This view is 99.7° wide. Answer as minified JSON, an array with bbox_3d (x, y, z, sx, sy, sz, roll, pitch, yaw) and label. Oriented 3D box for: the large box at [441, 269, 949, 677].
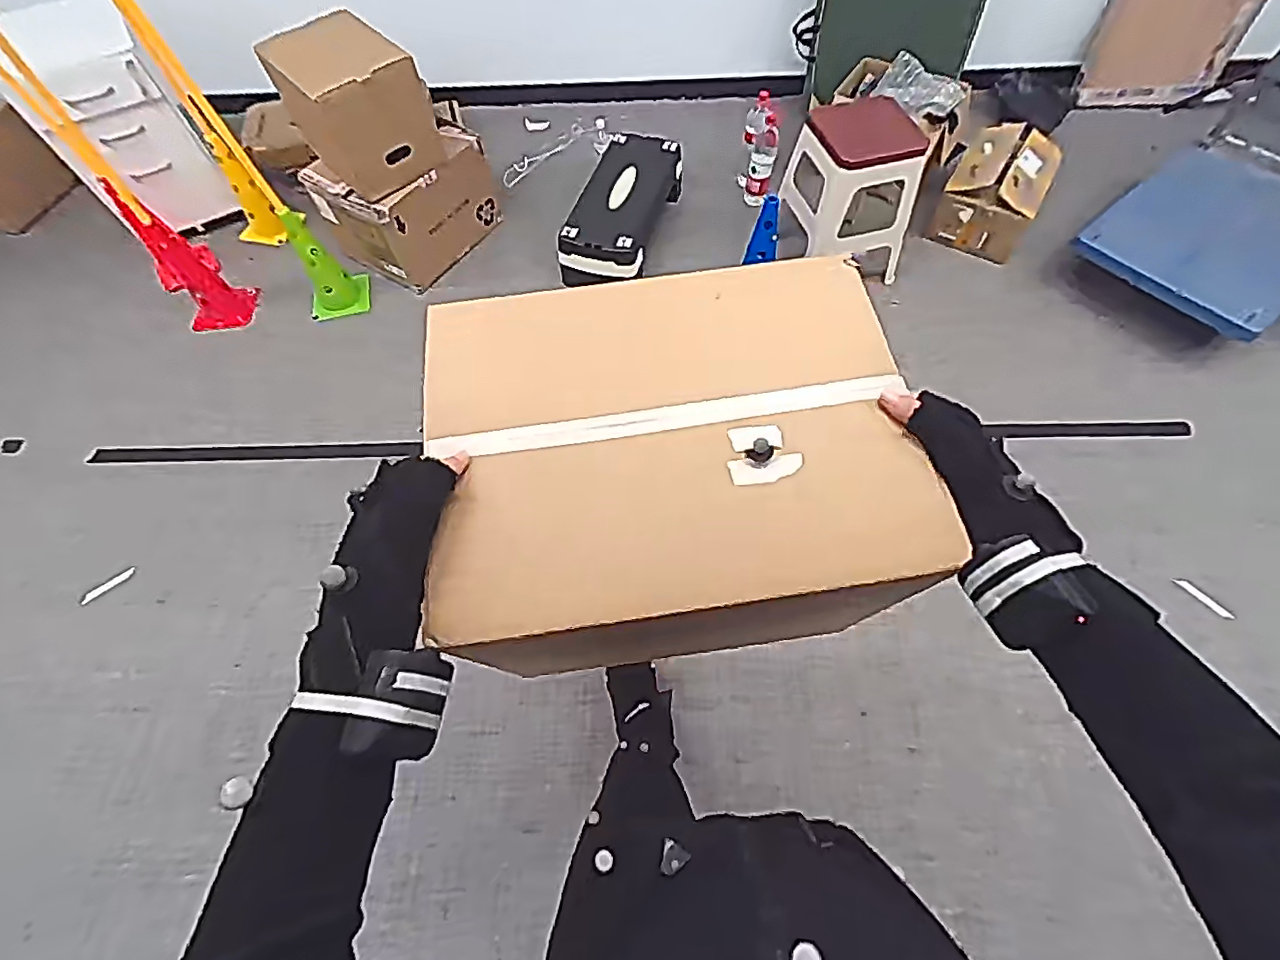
[{"bbox_3d":[0.027,0.016,0.608,0.408,0.320,0.320,-8,66,-2],"label":"large box"}]
